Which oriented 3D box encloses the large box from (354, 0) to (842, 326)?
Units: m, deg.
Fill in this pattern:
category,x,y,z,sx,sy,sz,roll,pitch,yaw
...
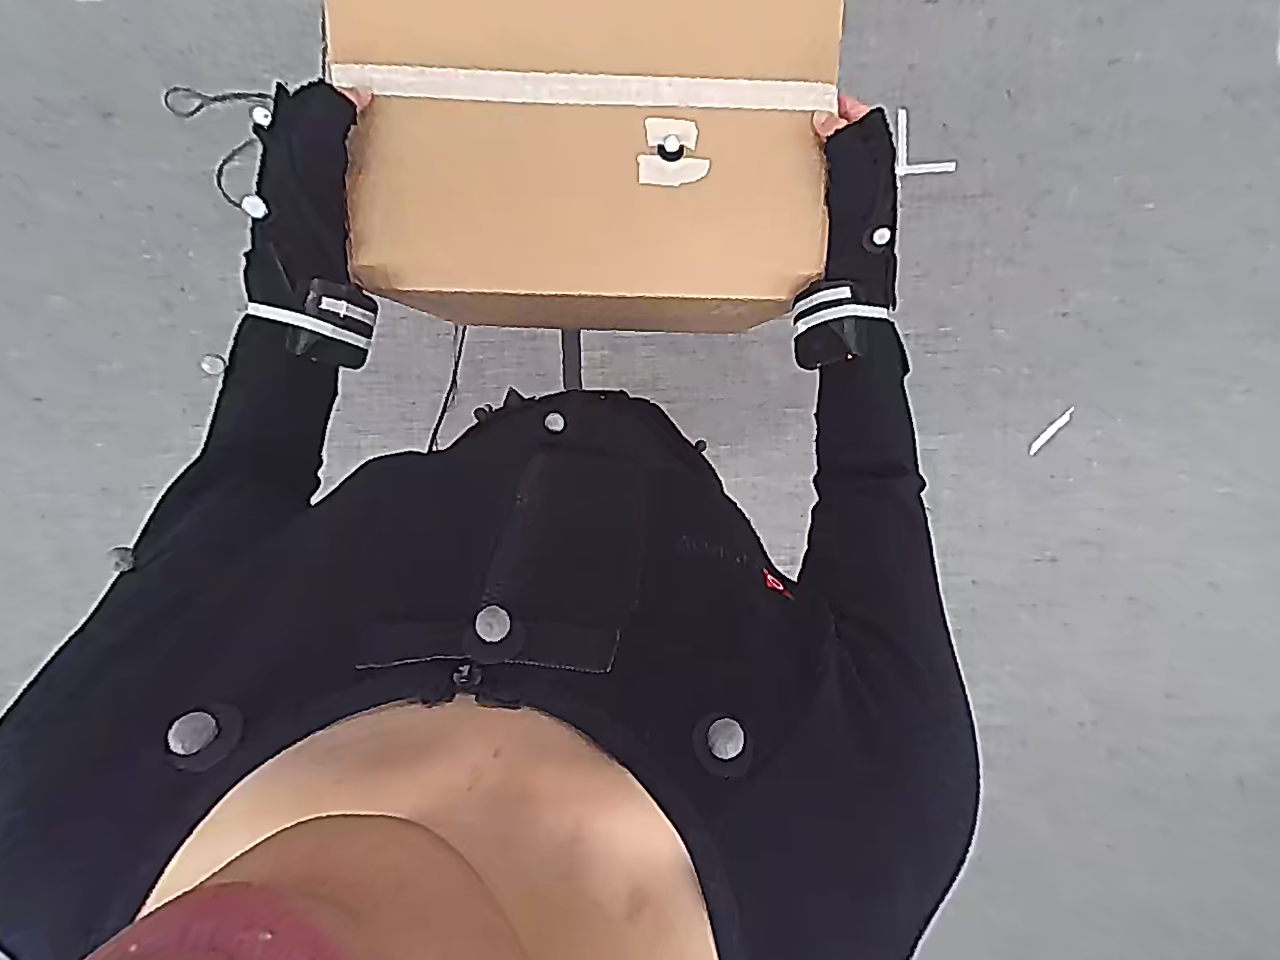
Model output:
category,x,y,z,sx,sy,sz,roll,pitch,yaw
large box,-0.040,-0.347,0.596,0.408,0.320,0.320,1,100,-3
